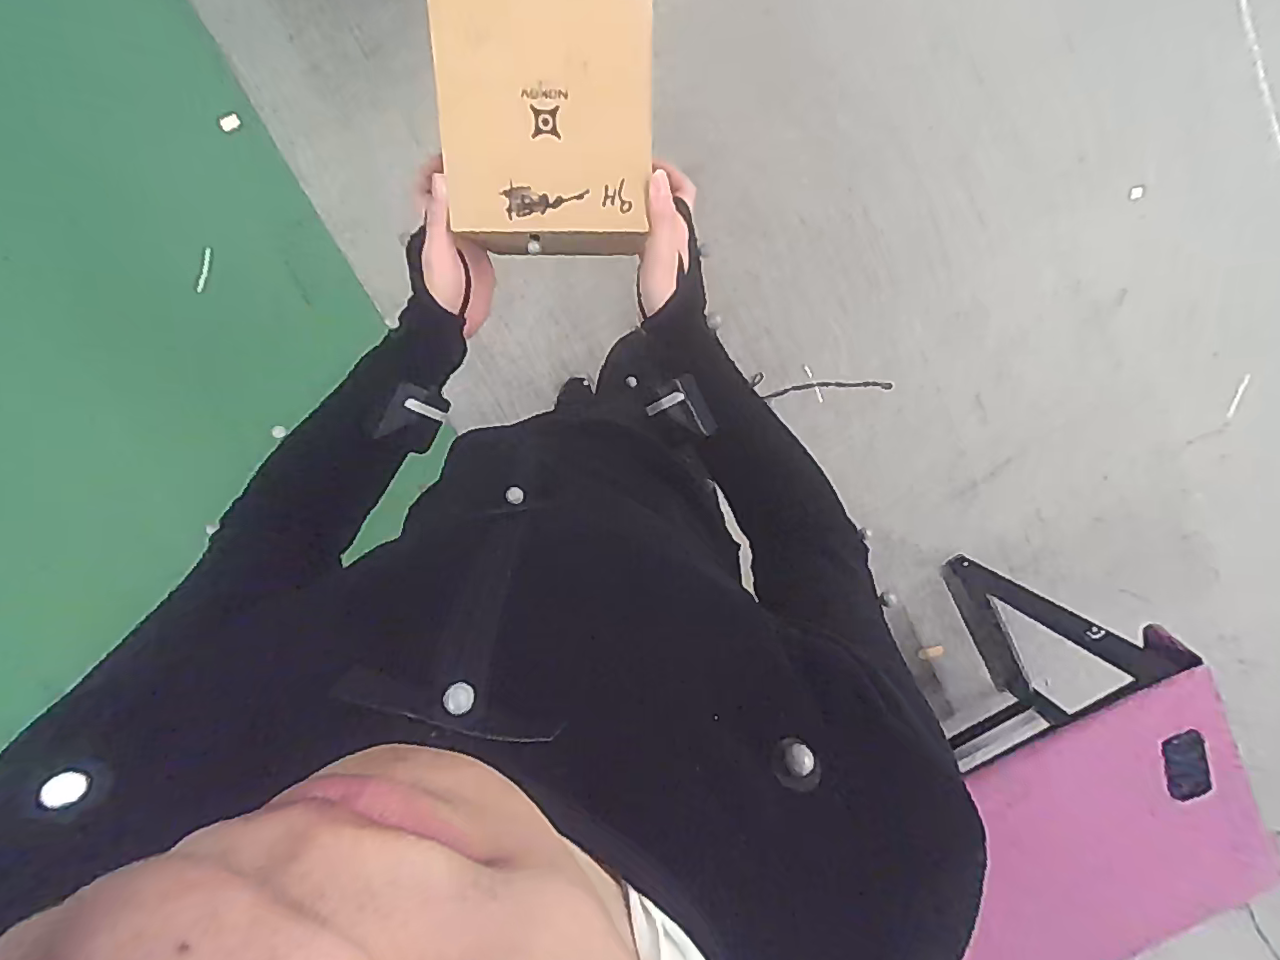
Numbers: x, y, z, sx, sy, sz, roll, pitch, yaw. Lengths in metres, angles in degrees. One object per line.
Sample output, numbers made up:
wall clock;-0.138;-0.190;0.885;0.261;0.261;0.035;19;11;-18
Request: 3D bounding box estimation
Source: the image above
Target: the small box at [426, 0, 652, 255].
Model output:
small box;-0.079;-0.308;0.483;0.168;0.176;0.179;-1;106;-3
